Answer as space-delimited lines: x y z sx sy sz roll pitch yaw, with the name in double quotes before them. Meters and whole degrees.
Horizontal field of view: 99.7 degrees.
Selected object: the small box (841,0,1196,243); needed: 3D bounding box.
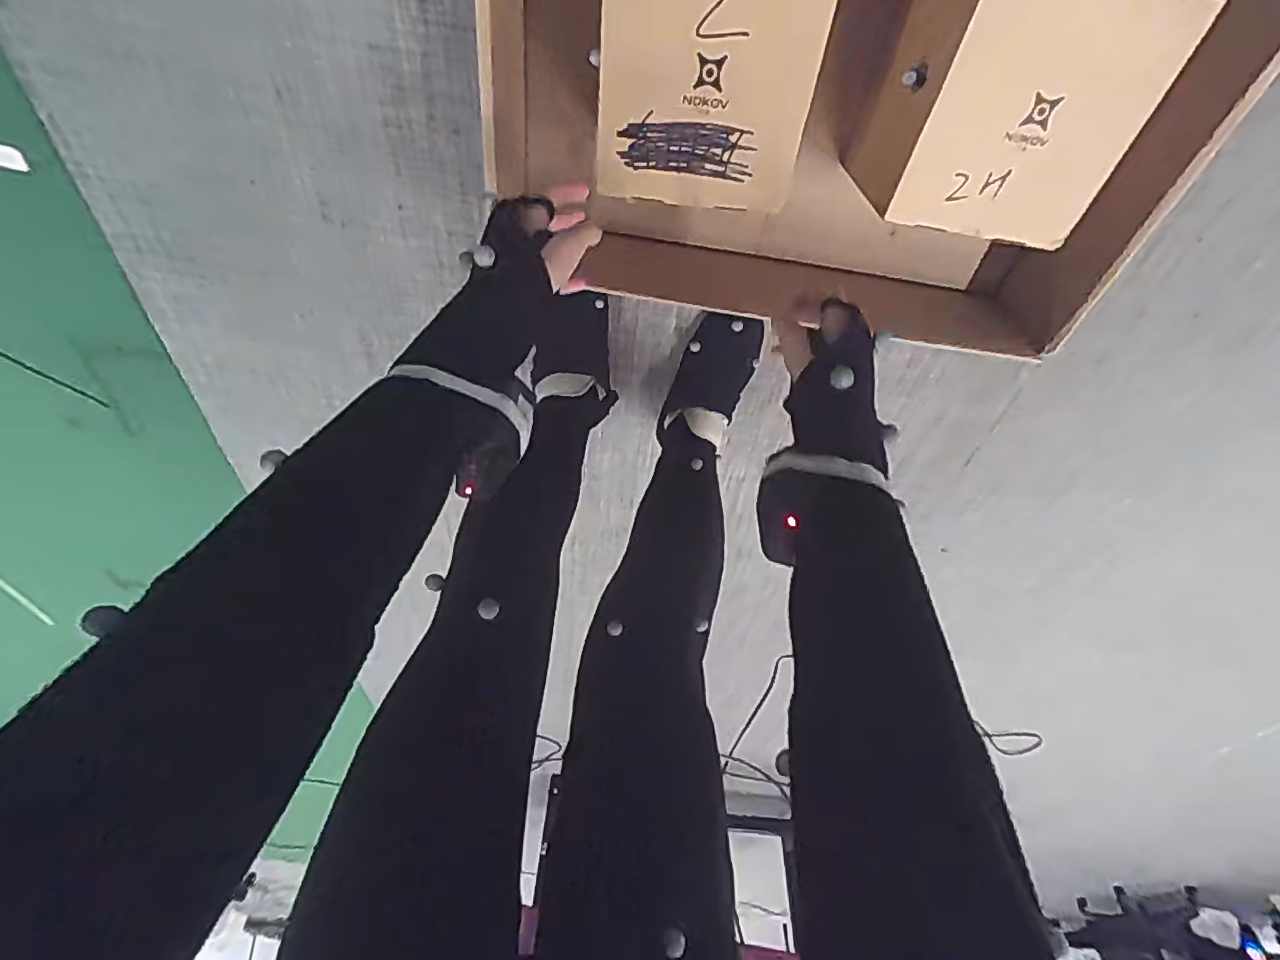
"small box" 0.300 -0.345 0.485 0.168 0.176 0.179 9 136 -3
